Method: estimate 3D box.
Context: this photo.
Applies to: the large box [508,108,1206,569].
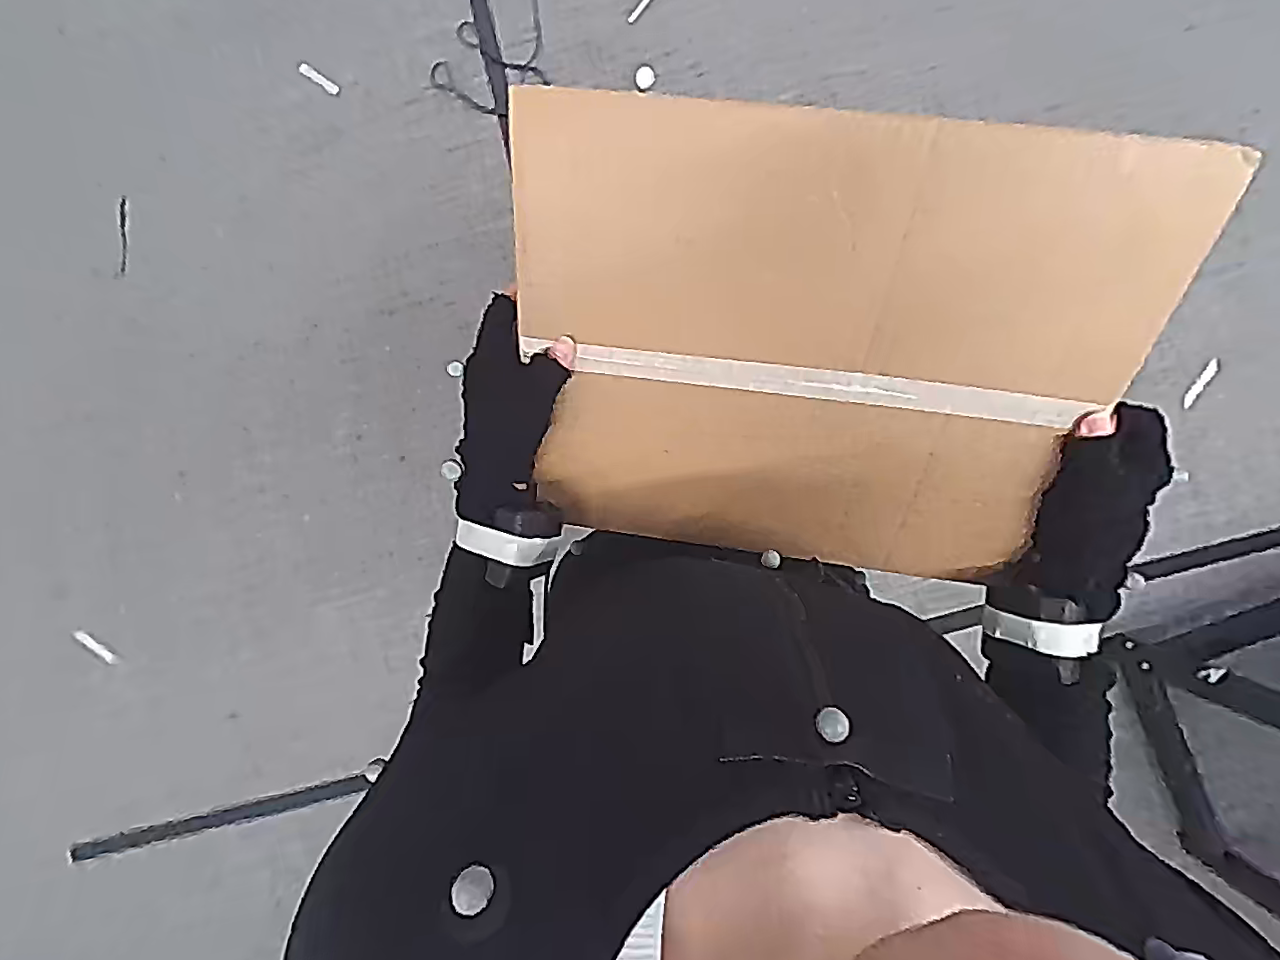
[{"bbox_3d":[0.125,-0.151,0.516,0.408,0.320,0.320,7,124,4],"label":"large box"}]
